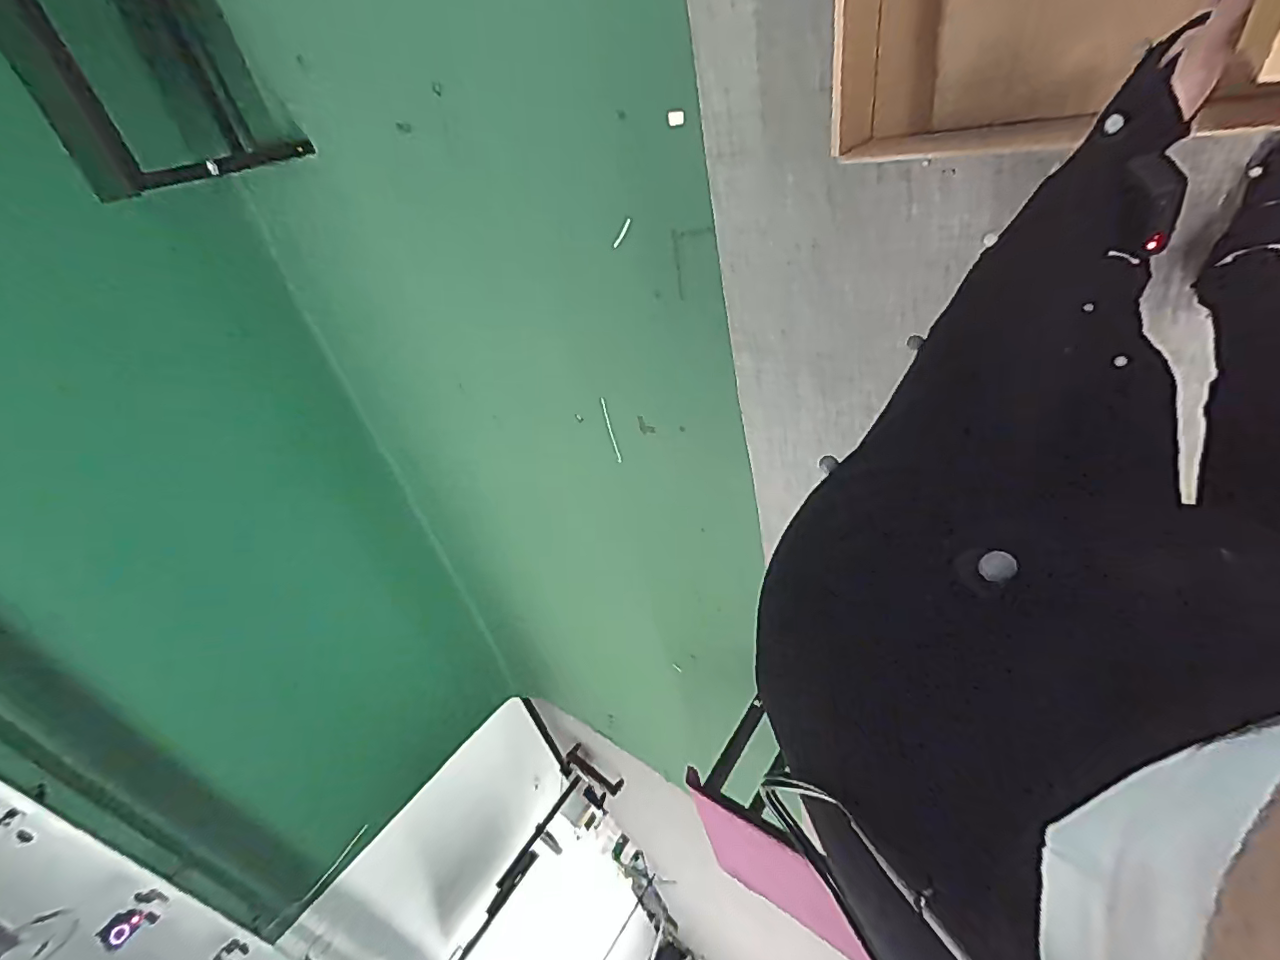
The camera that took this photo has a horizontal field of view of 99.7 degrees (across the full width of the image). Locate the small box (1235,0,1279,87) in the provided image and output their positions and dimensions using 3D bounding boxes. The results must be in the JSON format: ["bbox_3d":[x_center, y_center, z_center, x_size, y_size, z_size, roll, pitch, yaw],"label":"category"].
[{"bbox_3d":[0.436,-0.306,0.251,0.168,0.176,0.179,21,136,33],"label":"small box"}]

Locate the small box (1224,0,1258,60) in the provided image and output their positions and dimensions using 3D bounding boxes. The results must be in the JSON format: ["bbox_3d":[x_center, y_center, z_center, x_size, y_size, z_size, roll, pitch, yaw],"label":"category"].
[{"bbox_3d":[0.532,-0.396,0.347,0.168,0.176,0.179,20,136,33],"label":"small box"}]
